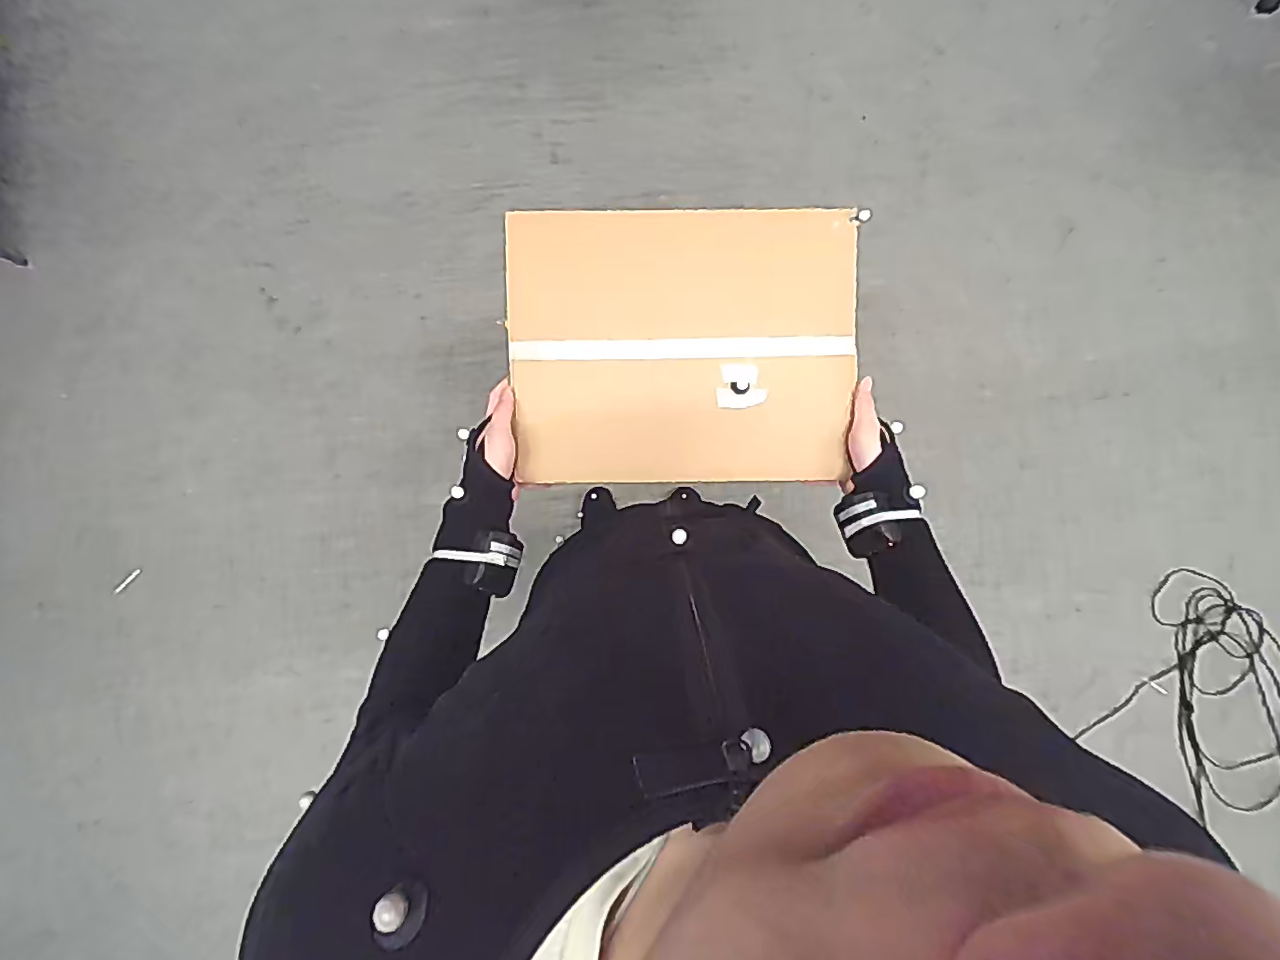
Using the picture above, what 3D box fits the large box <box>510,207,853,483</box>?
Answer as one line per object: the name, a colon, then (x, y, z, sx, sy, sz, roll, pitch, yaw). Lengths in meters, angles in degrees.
large box: (0.049, -0.169, 0.785, 0.408, 0.320, 0.320, -2, 95, -1)
